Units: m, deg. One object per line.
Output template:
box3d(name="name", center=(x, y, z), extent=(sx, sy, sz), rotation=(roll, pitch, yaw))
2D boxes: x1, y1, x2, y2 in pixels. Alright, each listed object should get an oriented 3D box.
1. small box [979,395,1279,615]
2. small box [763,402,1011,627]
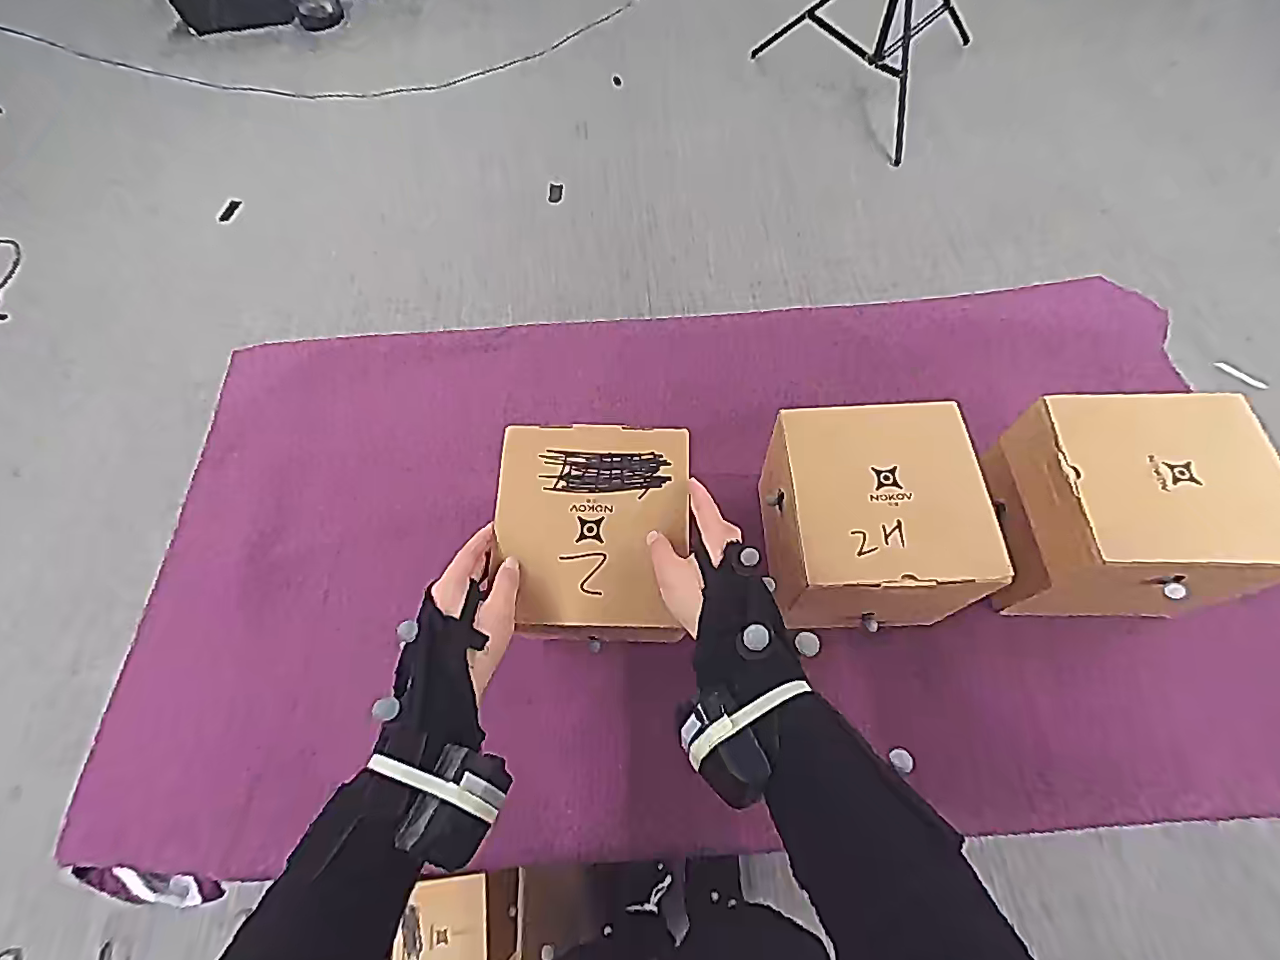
box3d(name="small box", center=(0.462, 0.032, 0.536), extent=(0.179, 0.176, 0.168), rotation=(0, 62, 5))
box3d(name="small box", center=(0.223, 0.042, 0.547), extent=(0.168, 0.176, 0.179), rotation=(-3, 63, 4))
